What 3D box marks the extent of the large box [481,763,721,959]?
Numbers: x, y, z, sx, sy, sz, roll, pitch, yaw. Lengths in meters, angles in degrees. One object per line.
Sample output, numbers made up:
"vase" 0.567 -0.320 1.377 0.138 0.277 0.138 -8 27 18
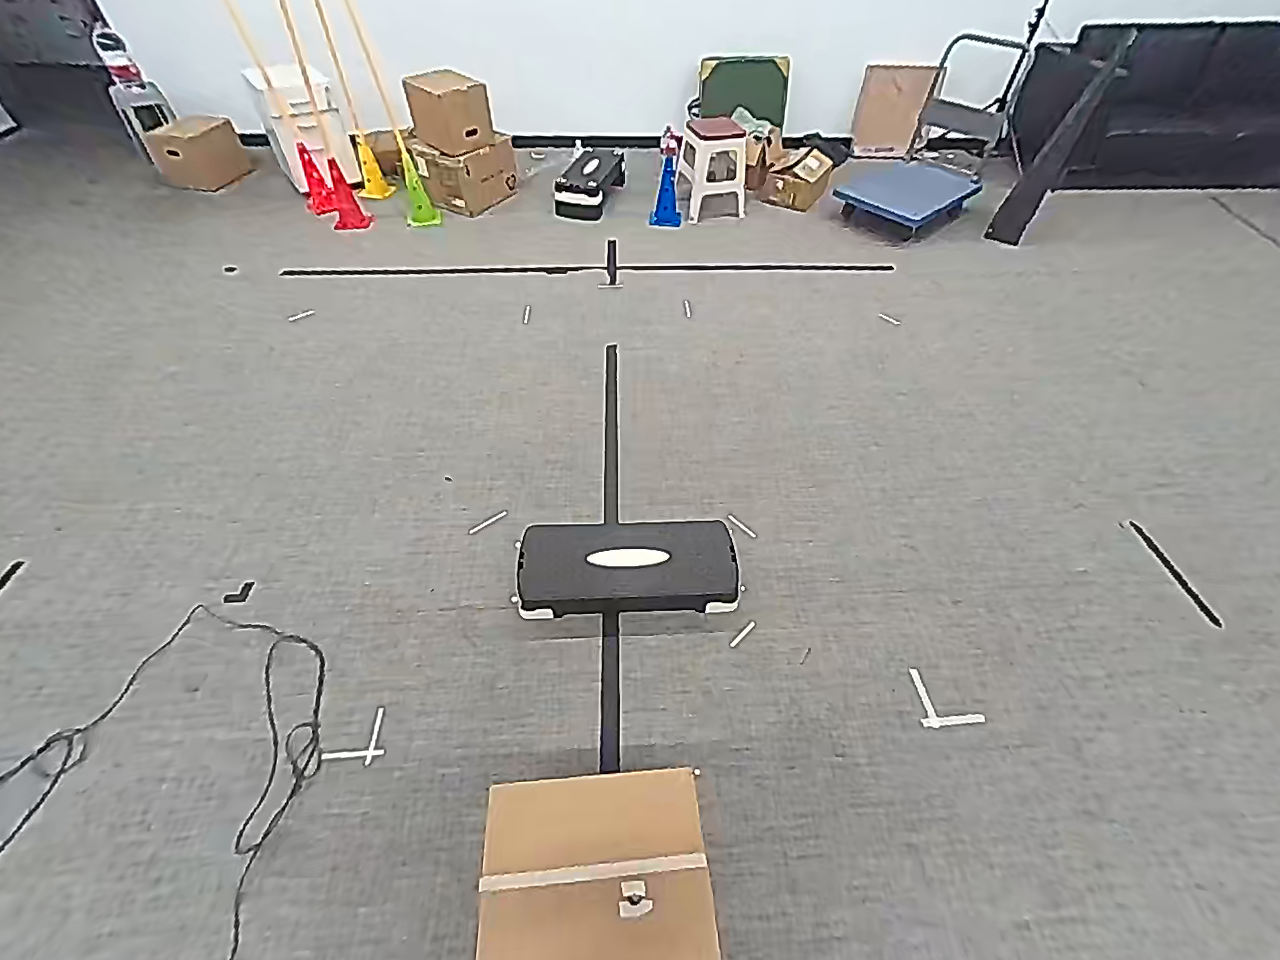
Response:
"large box" -0.083 0.797 1.087 0.408 0.320 0.320 -2 49 -5
